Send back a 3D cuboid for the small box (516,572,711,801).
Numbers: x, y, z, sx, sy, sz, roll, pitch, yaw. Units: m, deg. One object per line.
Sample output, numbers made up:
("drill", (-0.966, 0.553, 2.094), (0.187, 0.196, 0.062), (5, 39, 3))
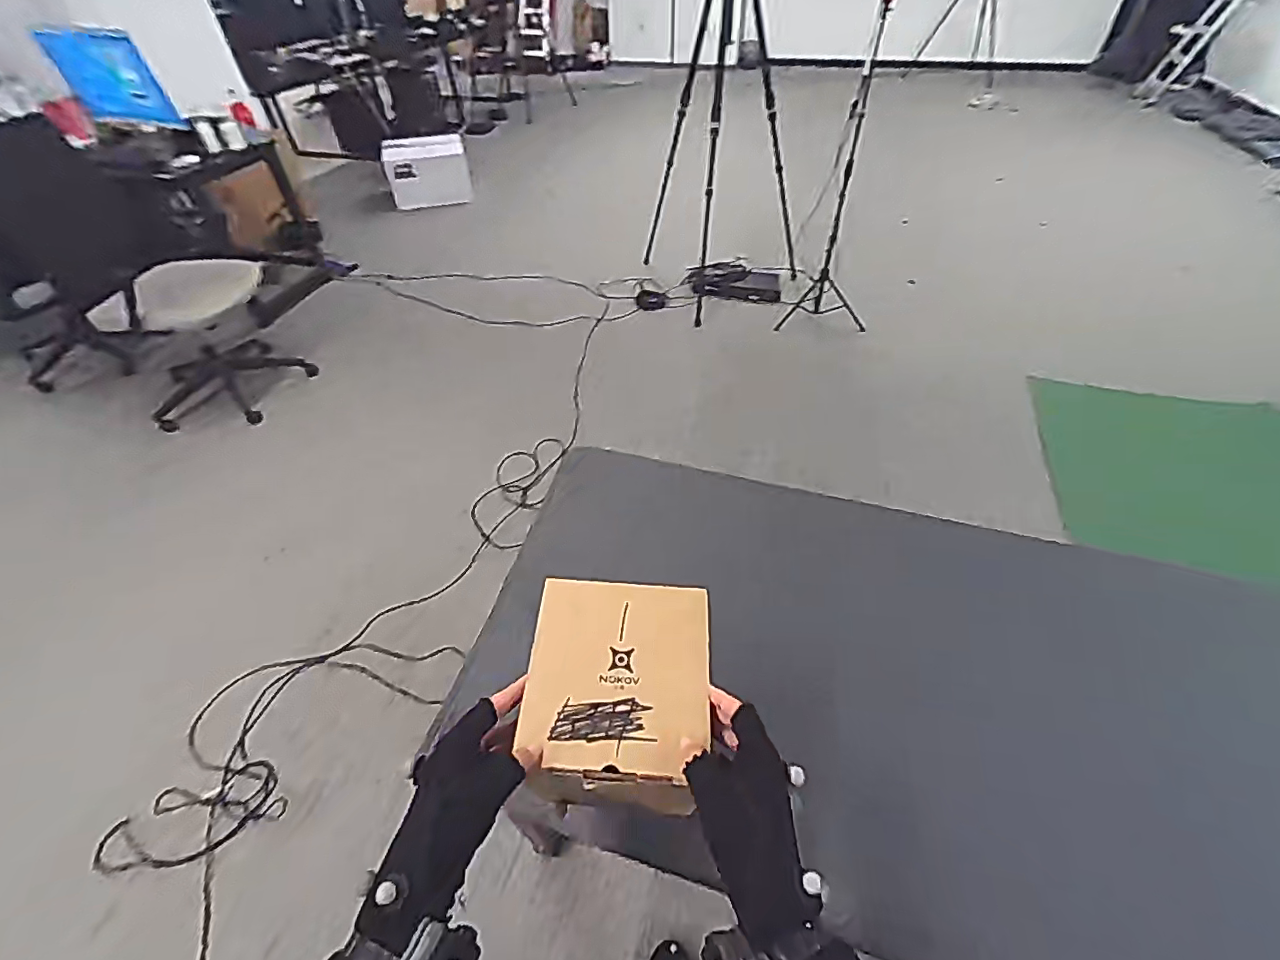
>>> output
("small box", (-0.018, 0.217, 0.558), (0.168, 0.176, 0.179), (4, 51, 1))
